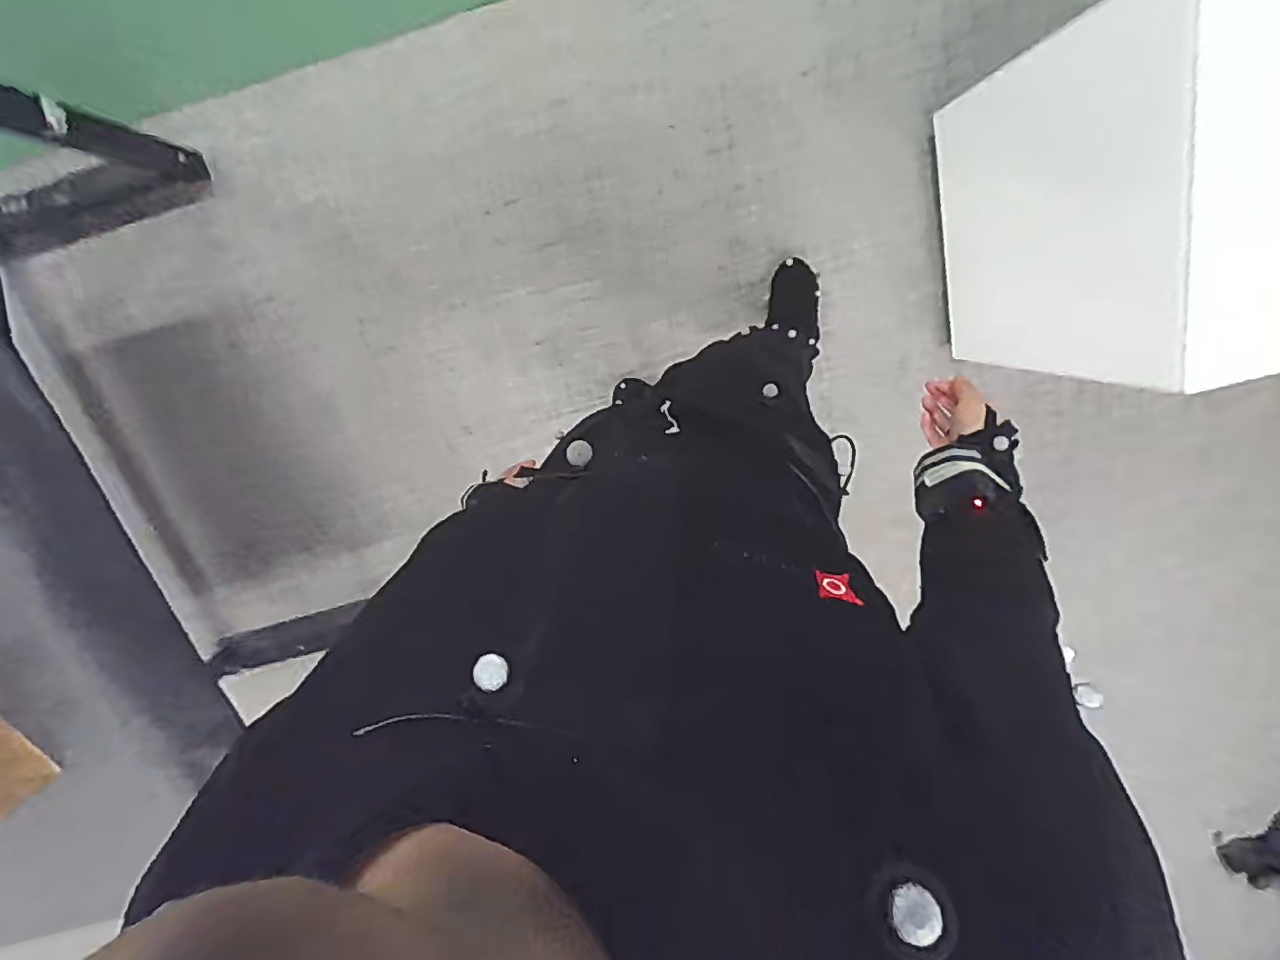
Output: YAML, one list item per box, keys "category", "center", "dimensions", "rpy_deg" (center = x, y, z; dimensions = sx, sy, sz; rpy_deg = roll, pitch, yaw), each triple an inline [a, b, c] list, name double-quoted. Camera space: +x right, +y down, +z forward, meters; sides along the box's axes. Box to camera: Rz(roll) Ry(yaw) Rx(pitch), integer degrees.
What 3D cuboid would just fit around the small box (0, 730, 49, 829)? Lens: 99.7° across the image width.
- category: "small box"
  center: [-0.884, 0.400, 0.632]
  dimensions: [0.179, 0.176, 0.168]
  rpy_deg: [-31, 104, 8]
